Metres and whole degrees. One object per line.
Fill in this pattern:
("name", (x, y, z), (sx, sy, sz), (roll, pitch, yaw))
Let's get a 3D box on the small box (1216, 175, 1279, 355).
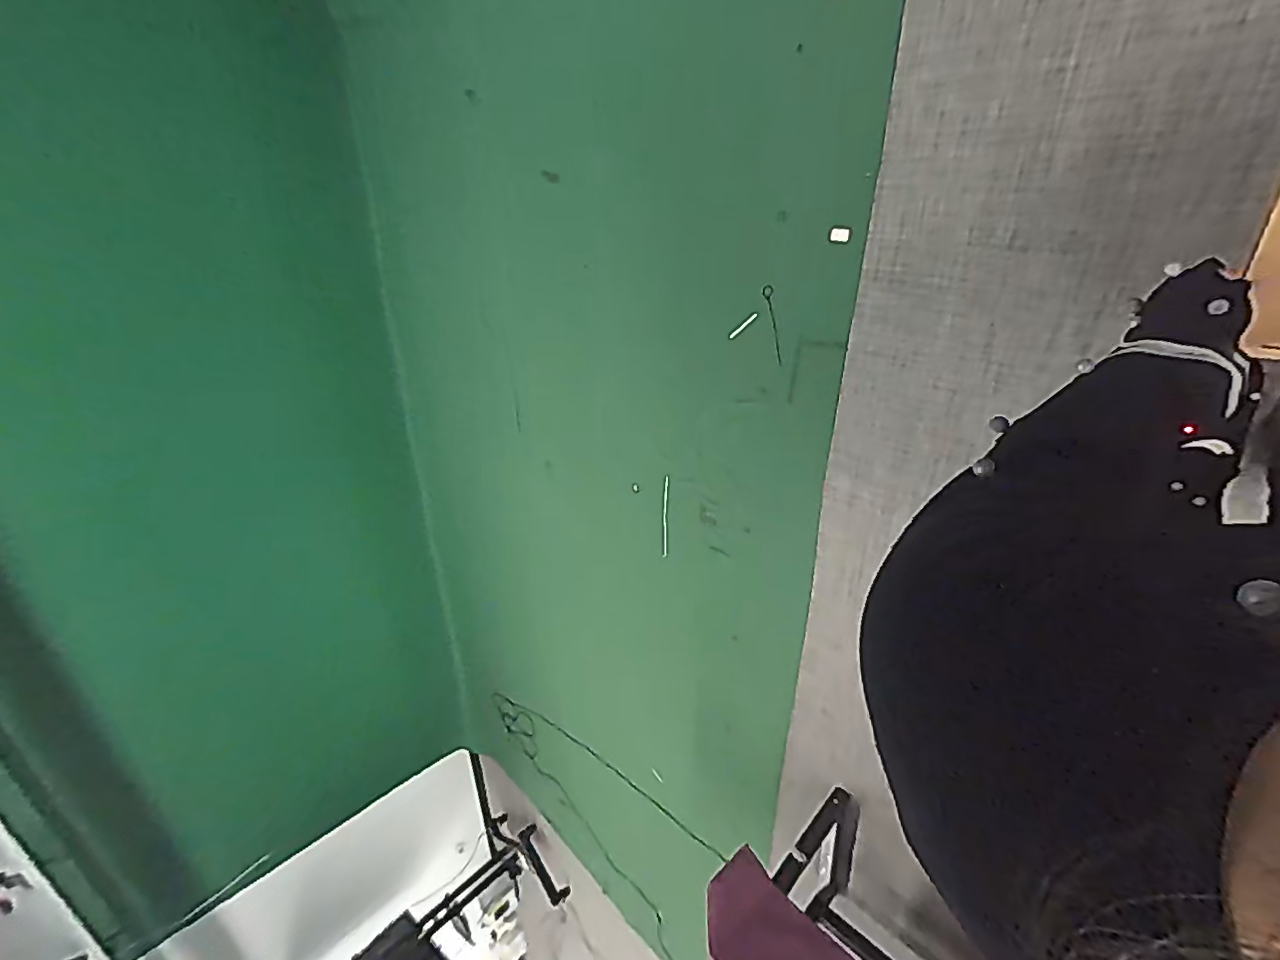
("small box", (0.700, -0.217, 0.518), (0.168, 0.176, 0.179), (21, 125, 40))
